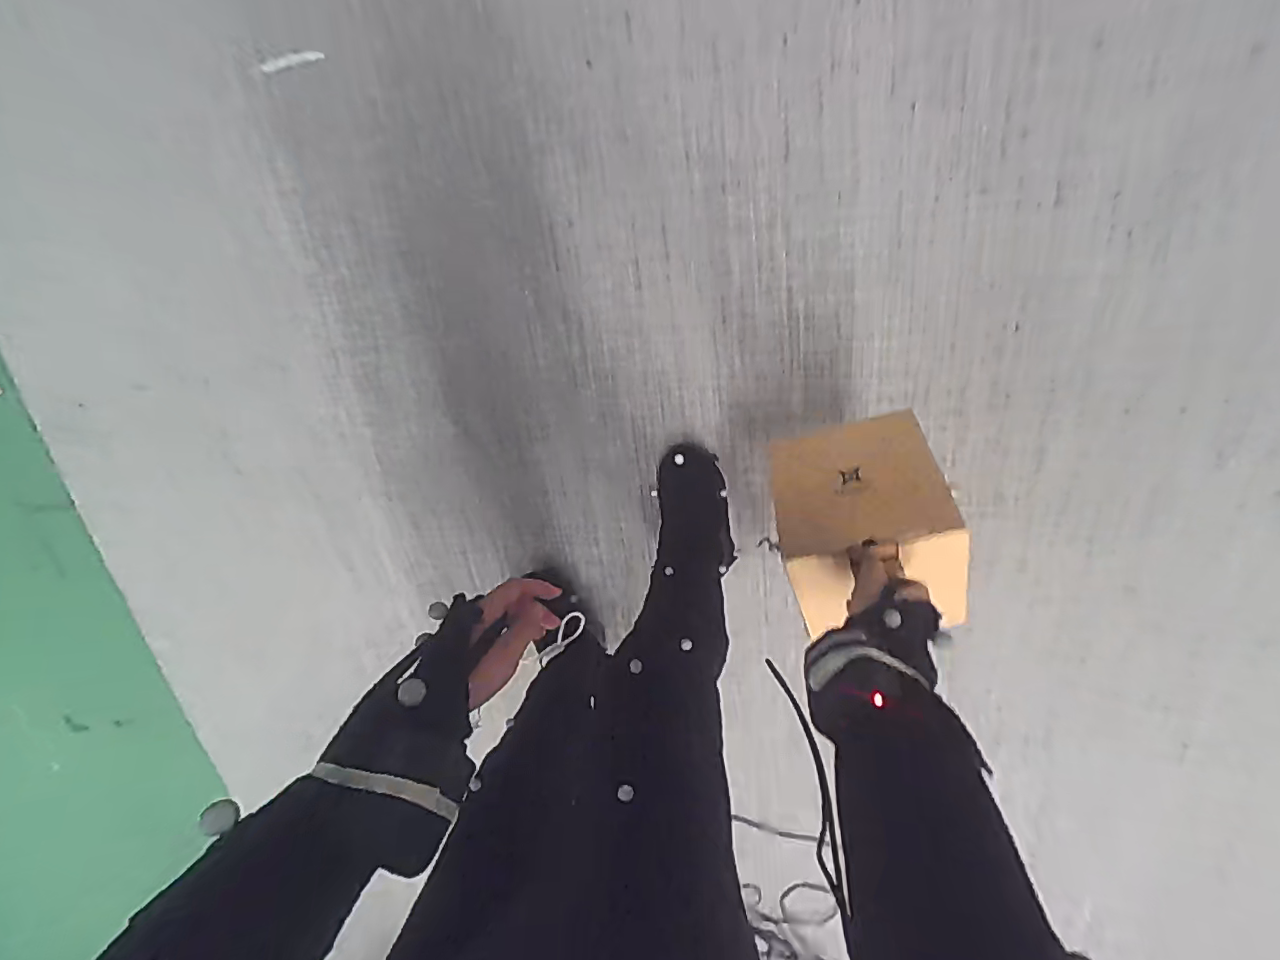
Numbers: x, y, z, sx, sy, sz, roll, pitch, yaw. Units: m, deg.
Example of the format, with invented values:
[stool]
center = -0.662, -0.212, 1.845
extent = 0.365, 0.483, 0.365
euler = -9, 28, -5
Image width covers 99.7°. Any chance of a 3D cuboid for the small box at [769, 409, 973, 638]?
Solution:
[small box]
center = 0.247, 0.053, 0.605
extent = 0.168, 0.179, 0.176
euler = -12, 136, 17
